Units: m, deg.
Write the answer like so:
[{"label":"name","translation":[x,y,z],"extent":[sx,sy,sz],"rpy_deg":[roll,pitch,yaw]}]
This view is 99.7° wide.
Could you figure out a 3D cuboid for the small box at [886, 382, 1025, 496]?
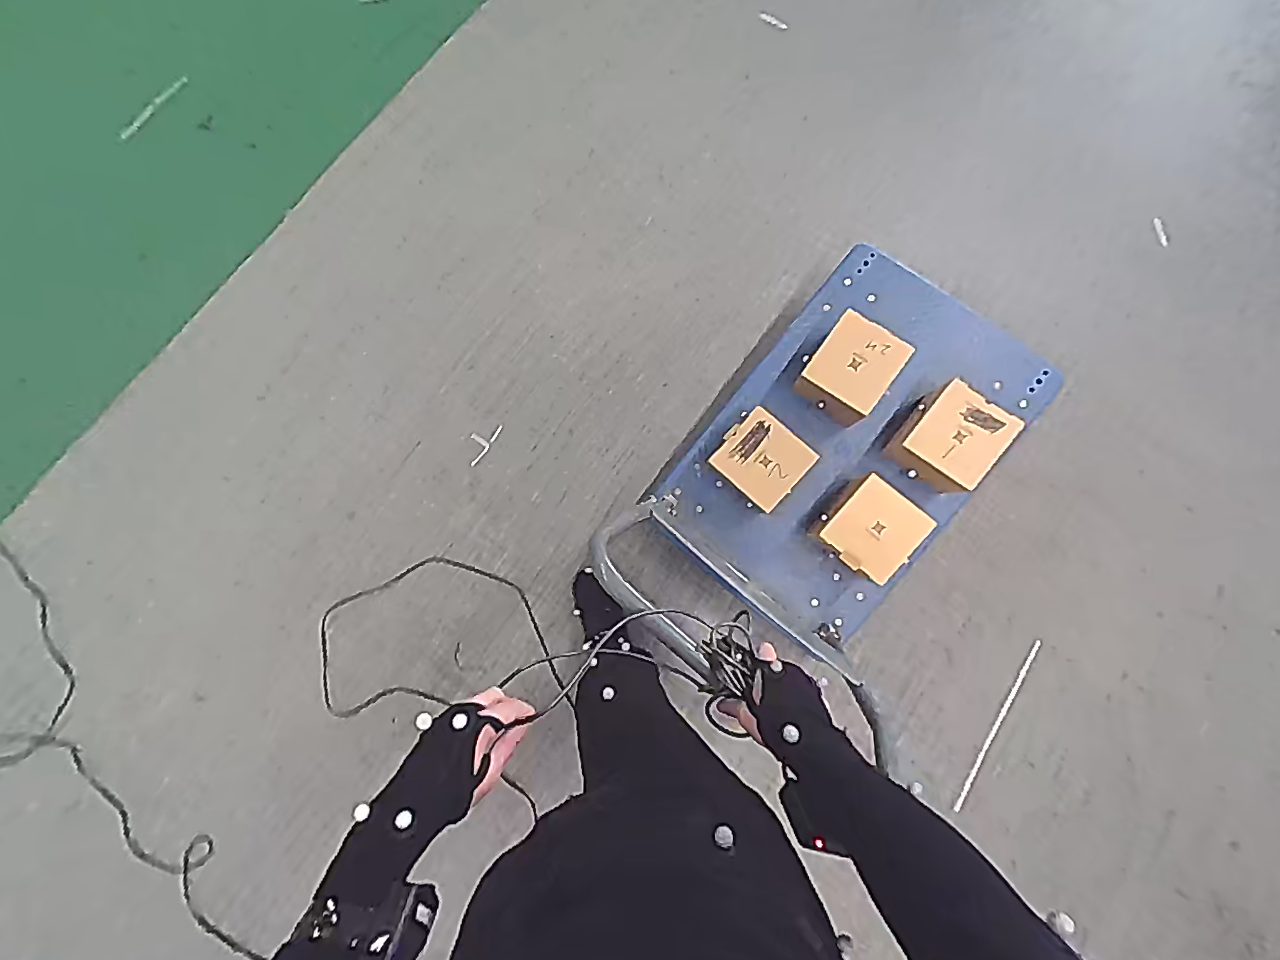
[{"label":"small box","translation":[0.668,-0.081,1.174],"extent":[0.168,0.176,0.179],"rpy_deg":[39,94,9]}]

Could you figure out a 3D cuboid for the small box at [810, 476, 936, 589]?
[{"label":"small box","translation":[0.498,0.111,1.191],"extent":[0.168,0.176,0.179],"rpy_deg":[42,94,9]}]

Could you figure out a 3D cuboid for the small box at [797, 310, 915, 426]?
[{"label":"small box","translation":[0.471,-0.240,1.214],"extent":[0.168,0.176,0.179],"rpy_deg":[37,92,8]}]
